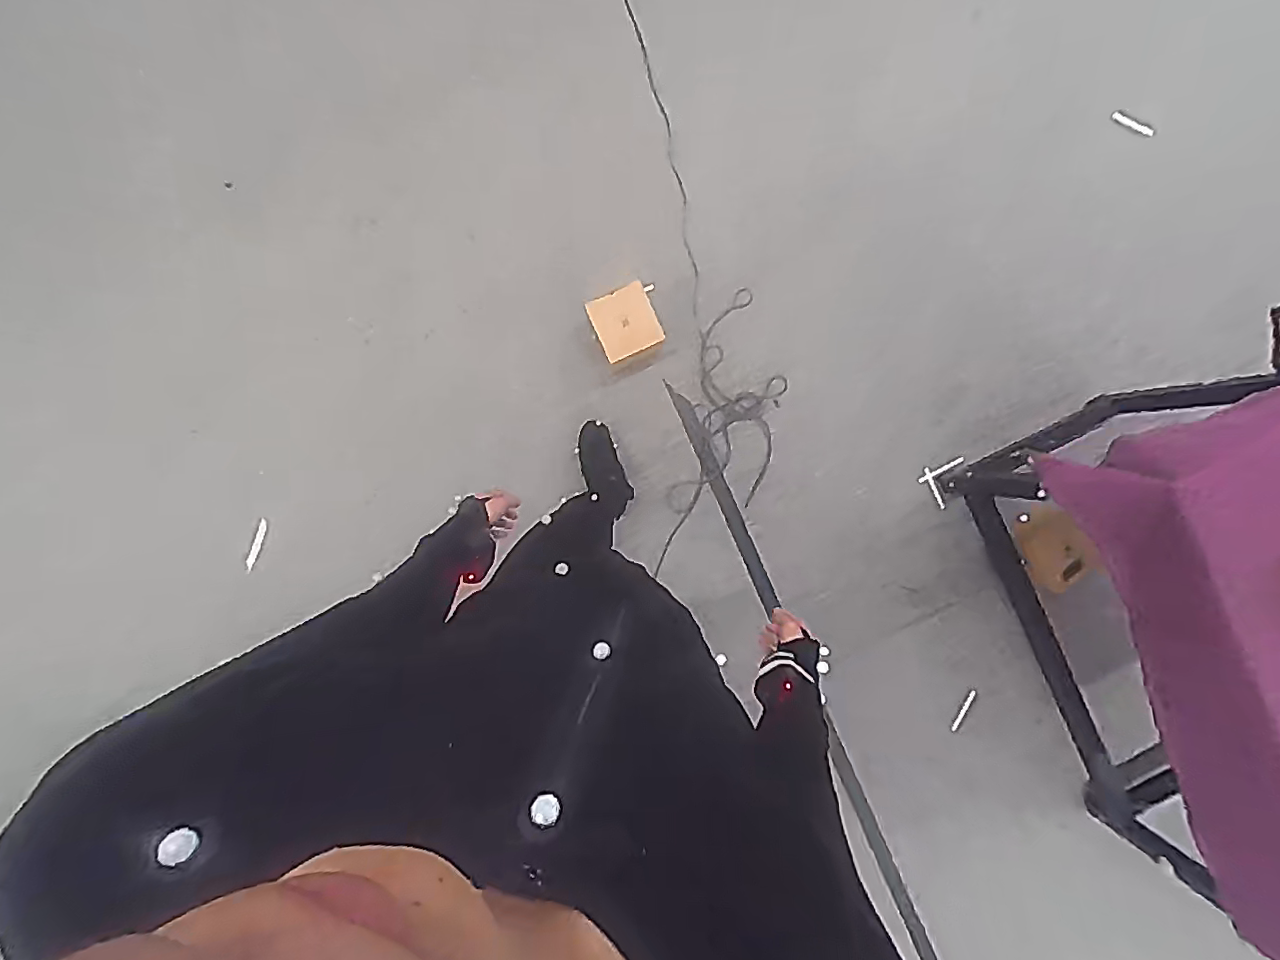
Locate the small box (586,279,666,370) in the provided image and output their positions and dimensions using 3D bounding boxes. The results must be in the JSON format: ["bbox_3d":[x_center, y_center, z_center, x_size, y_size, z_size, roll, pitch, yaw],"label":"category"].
[{"bbox_3d":[-0.041,-0.428,1.520,0.168,0.176,0.179,-24,93,0],"label":"small box"}]
